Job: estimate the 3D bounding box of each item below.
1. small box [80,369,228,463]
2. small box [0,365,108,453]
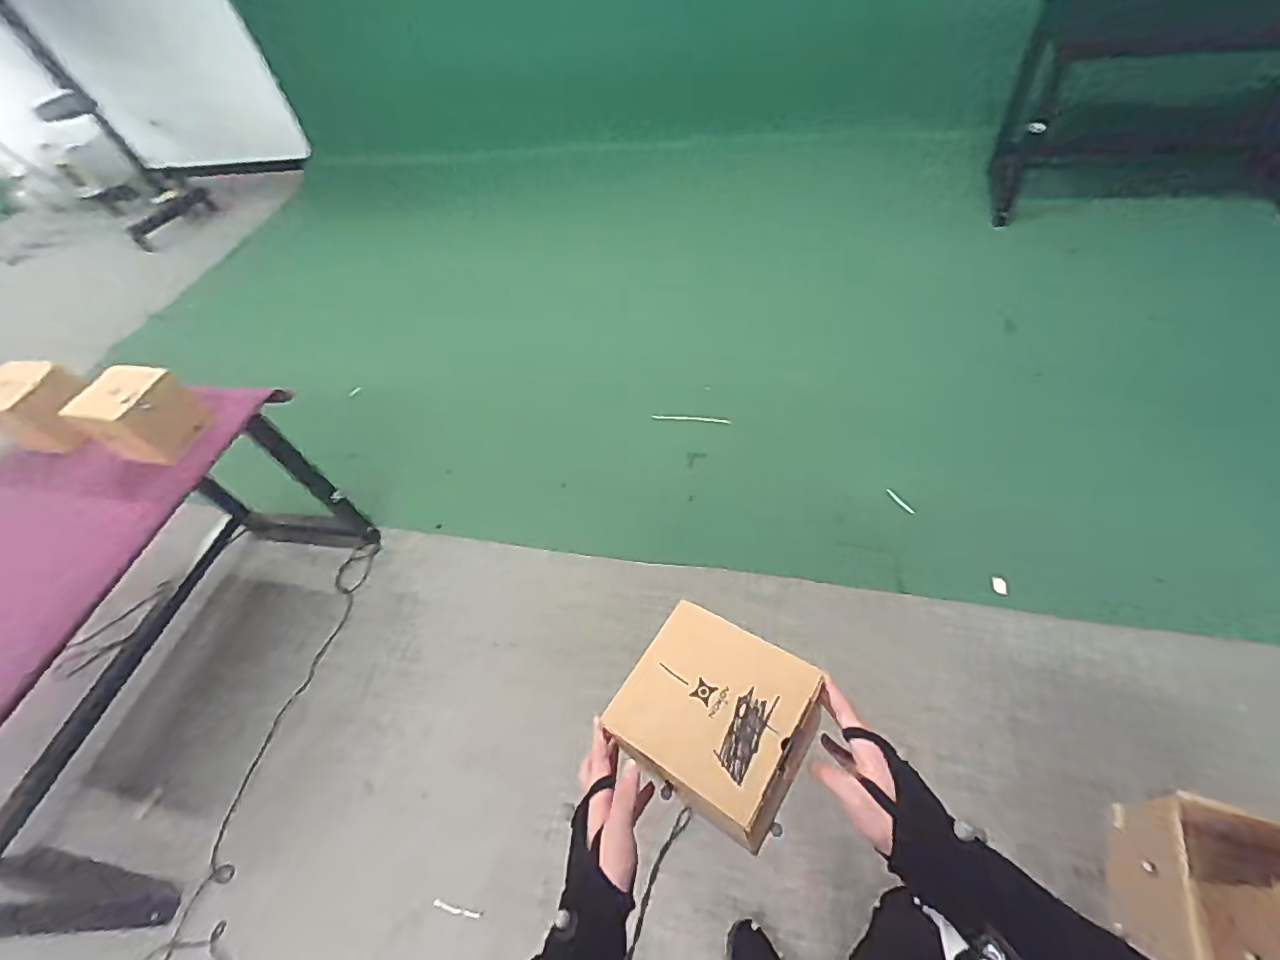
[{"bbox_3d":[-1.200,-0.157,1.349,0.179,0.176,0.168,6,57,15],"label":"small box"},{"bbox_3d":[-1.543,-0.187,1.438,0.179,0.176,0.168,4,59,13],"label":"small box"}]
